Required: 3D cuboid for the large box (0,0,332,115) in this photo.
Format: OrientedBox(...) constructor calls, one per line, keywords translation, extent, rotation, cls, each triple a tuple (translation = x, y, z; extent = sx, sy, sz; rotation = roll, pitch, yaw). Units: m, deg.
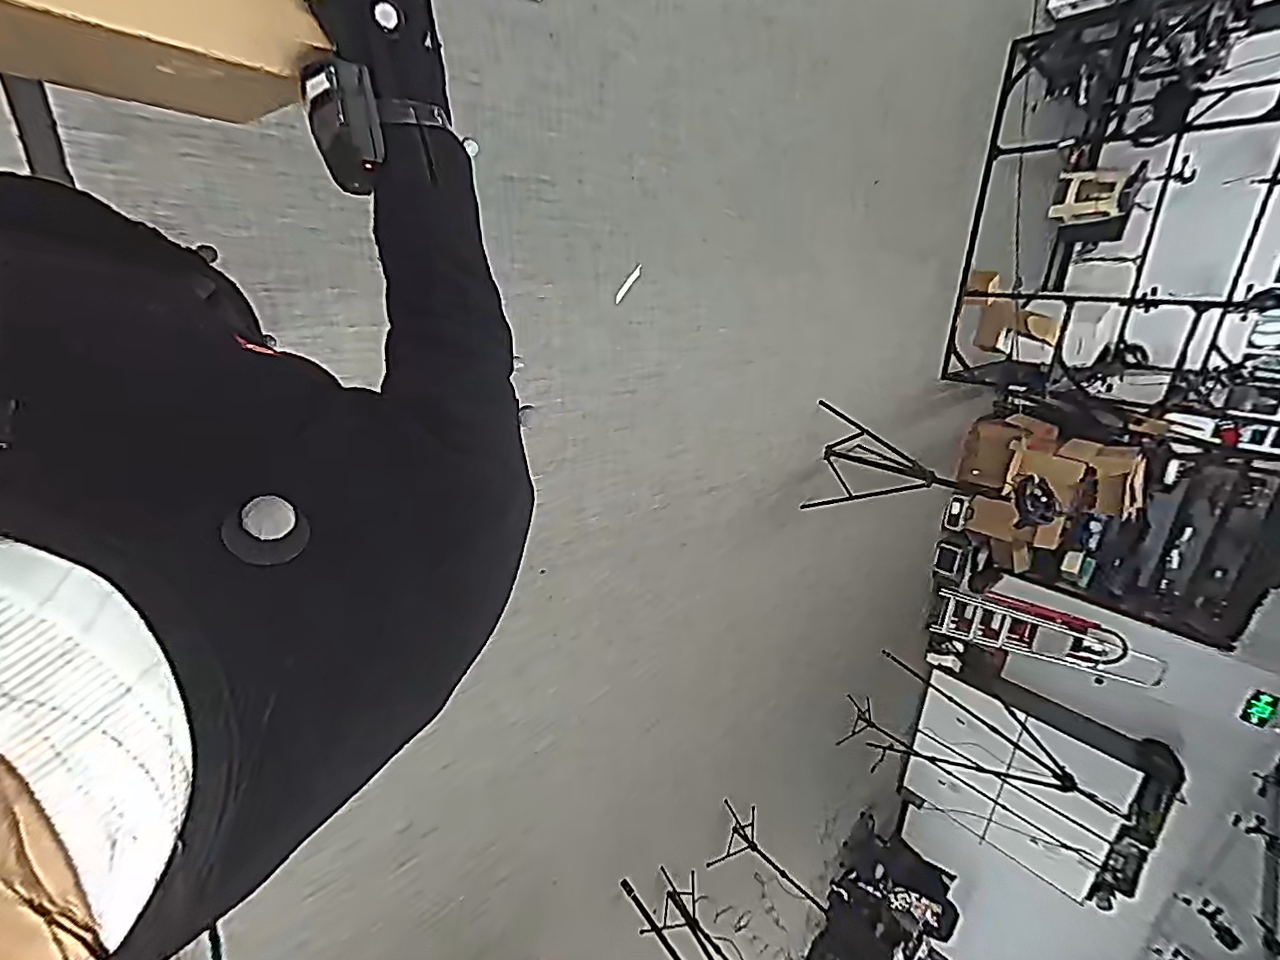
OrientedBox(translation=(-0.440, -0.428, 0.280), extent=(0.408, 0.320, 0.320), rotation=(-14, 121, -42), cls="large box")
